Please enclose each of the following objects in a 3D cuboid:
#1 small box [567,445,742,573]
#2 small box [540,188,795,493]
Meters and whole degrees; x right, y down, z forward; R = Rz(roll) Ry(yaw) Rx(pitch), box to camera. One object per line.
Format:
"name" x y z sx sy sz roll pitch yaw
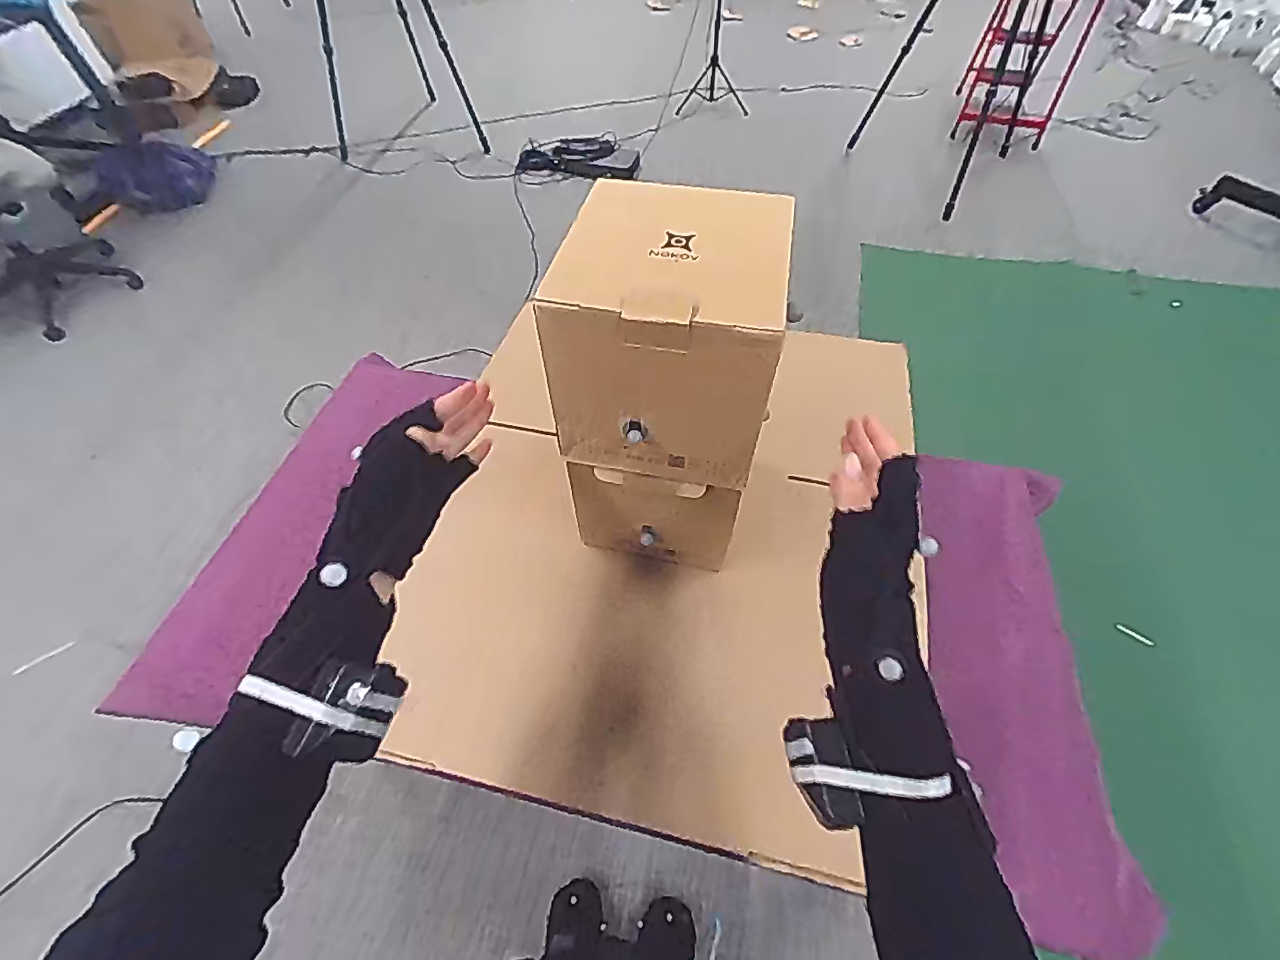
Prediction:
"small box" 0.031 -0.024 0.597 0.168 0.176 0.179 11 55 9
"small box" 0.028 -0.116 0.462 0.168 0.176 0.179 9 55 7
